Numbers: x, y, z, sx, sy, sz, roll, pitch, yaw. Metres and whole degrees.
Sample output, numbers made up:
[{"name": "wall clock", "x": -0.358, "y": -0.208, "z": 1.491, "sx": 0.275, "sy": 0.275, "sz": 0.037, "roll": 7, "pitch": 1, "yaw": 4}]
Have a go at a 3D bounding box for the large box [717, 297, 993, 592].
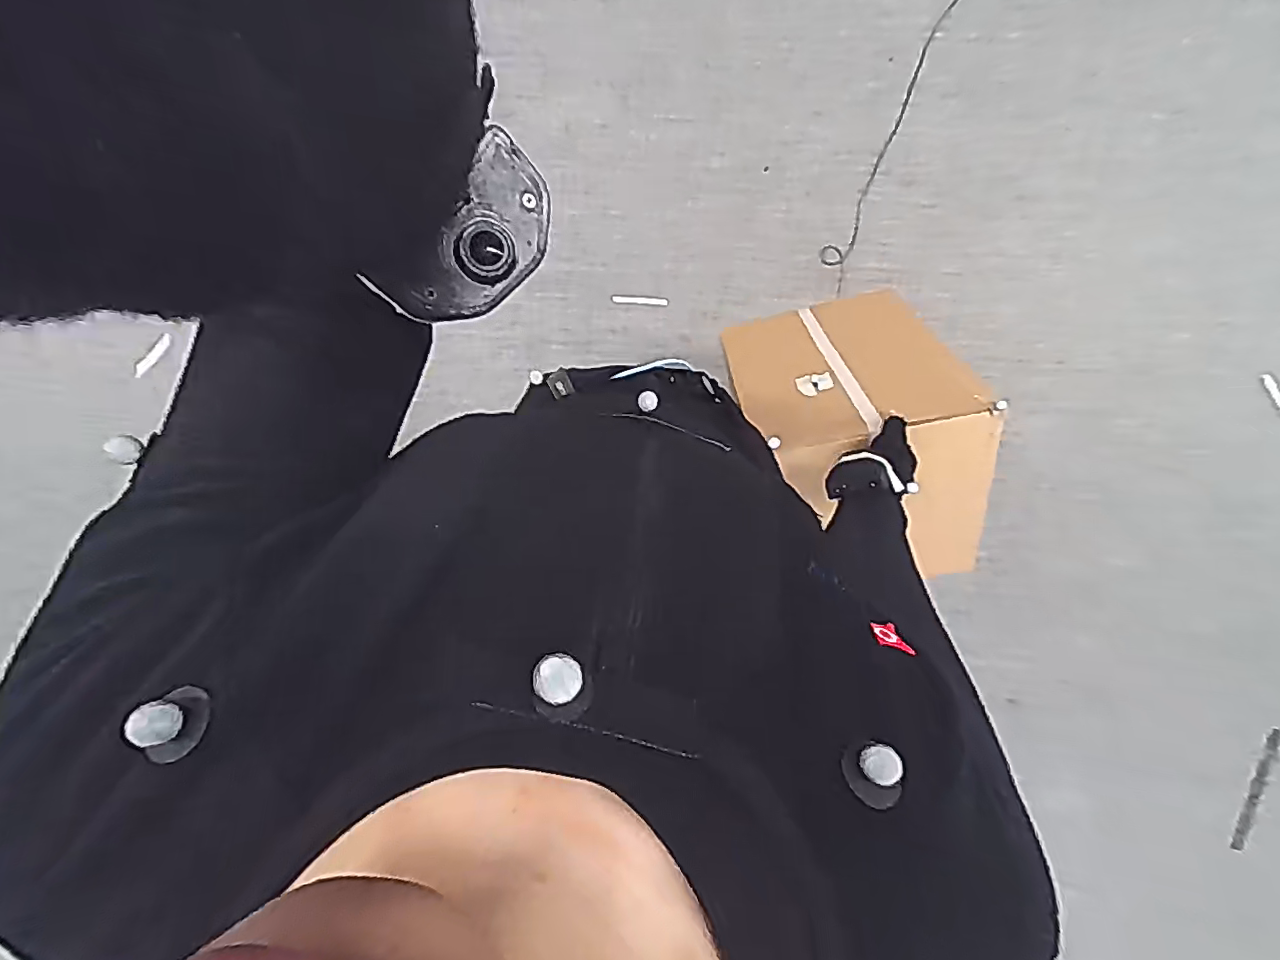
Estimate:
[{"name": "large box", "x": 0.332, "y": -0.072, "z": 0.952, "sx": 0.320, "sy": 0.408, "sz": 0.320, "roll": -11, "pitch": 129, "yaw": 9}]
